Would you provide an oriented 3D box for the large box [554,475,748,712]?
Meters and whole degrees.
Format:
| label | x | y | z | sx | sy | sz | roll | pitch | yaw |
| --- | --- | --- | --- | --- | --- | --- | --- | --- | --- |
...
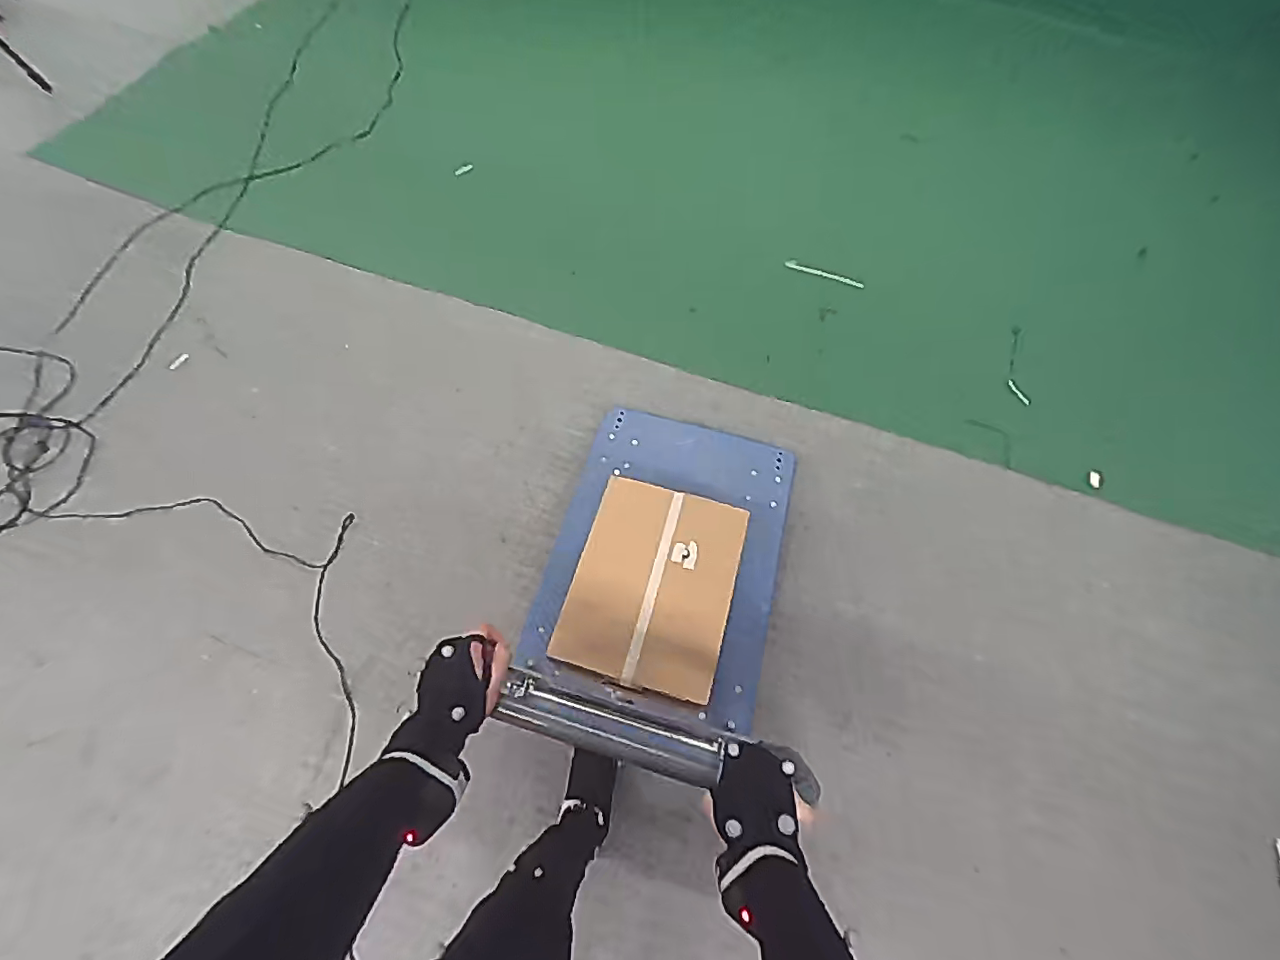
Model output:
| label | x | y | z | sx | sy | sz | roll | pitch | yaw |
| --- | --- | --- | --- | --- | --- | --- | --- | --- | --- |
| large box | 0.033 | 0.263 | 1.215 | 0.320 | 0.320 | 0.408 | 15 | 63 | 6 |
